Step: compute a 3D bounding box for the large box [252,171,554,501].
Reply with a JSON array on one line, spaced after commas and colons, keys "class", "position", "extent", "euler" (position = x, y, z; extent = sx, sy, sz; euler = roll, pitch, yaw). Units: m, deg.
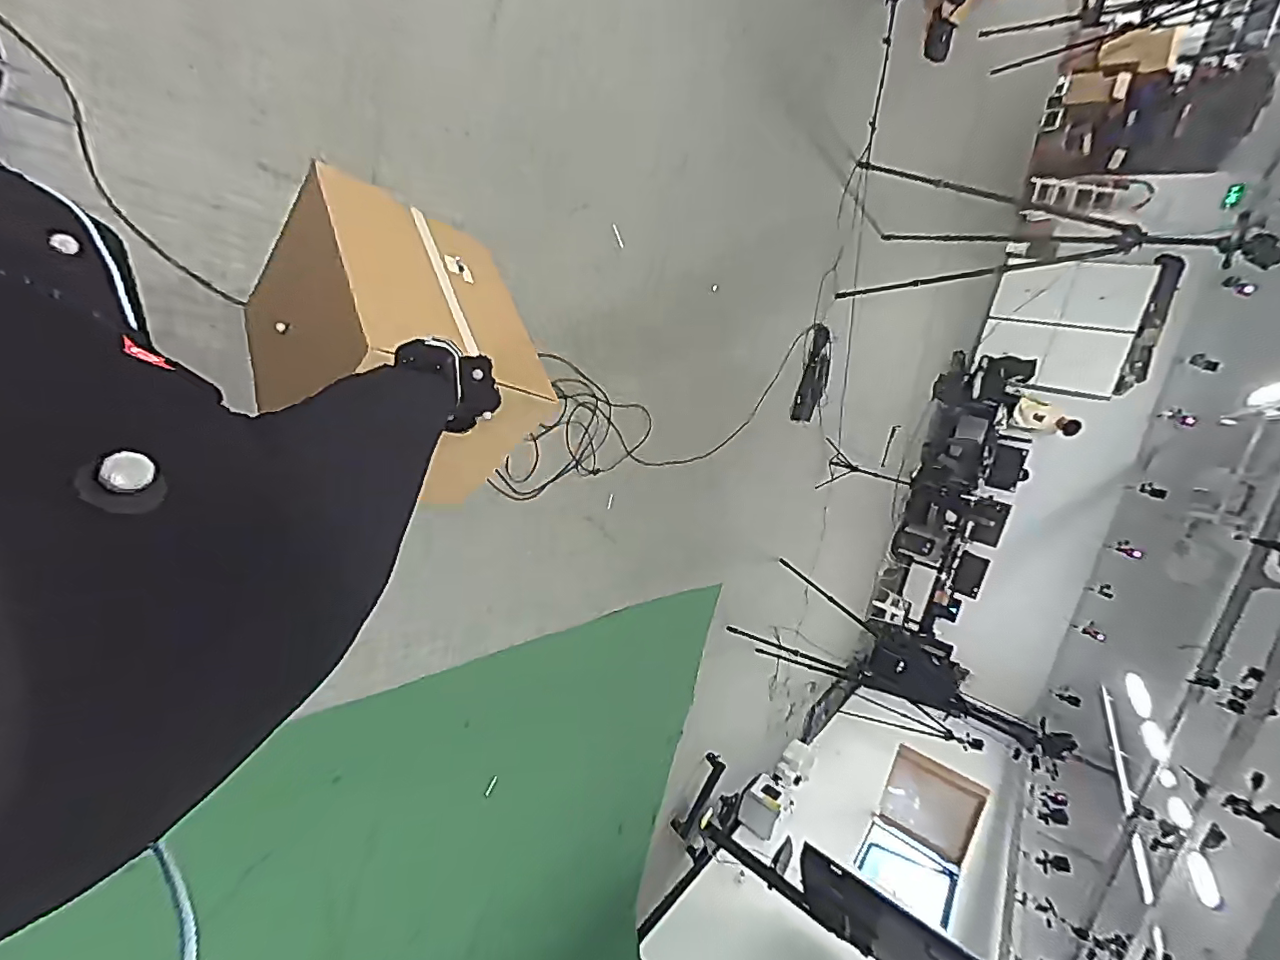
[{"class": "large box", "position": [-0.416, -0.211, 0.923], "extent": [0.320, 0.408, 0.320], "euler": [-42, 151, 26]}]
